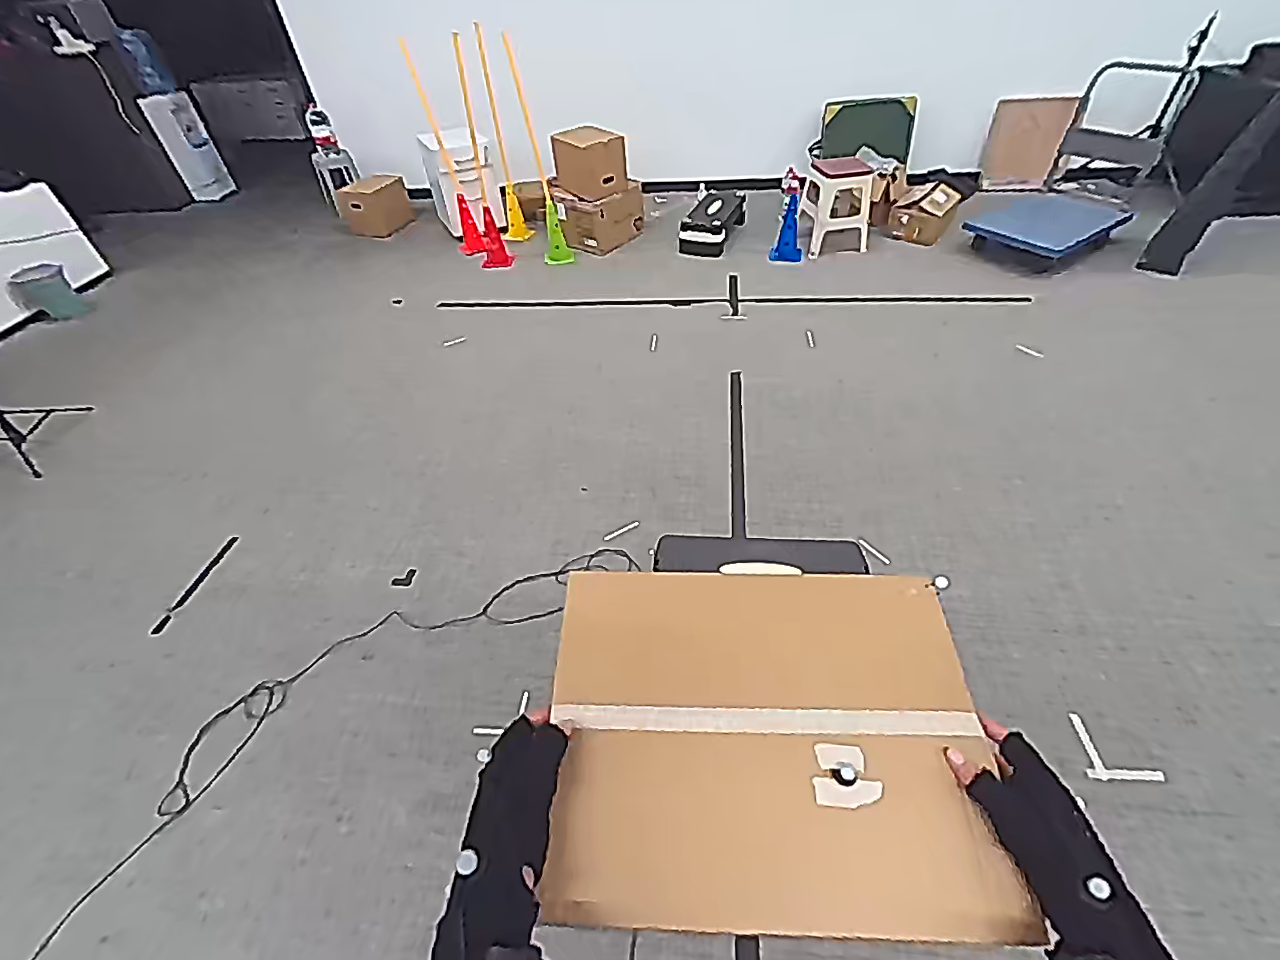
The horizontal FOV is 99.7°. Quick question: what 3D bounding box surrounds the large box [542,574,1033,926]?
[{"bbox_3d":[0.120,0.321,0.640,0.408,0.320,0.320,0,53,2],"label":"large box"}]
